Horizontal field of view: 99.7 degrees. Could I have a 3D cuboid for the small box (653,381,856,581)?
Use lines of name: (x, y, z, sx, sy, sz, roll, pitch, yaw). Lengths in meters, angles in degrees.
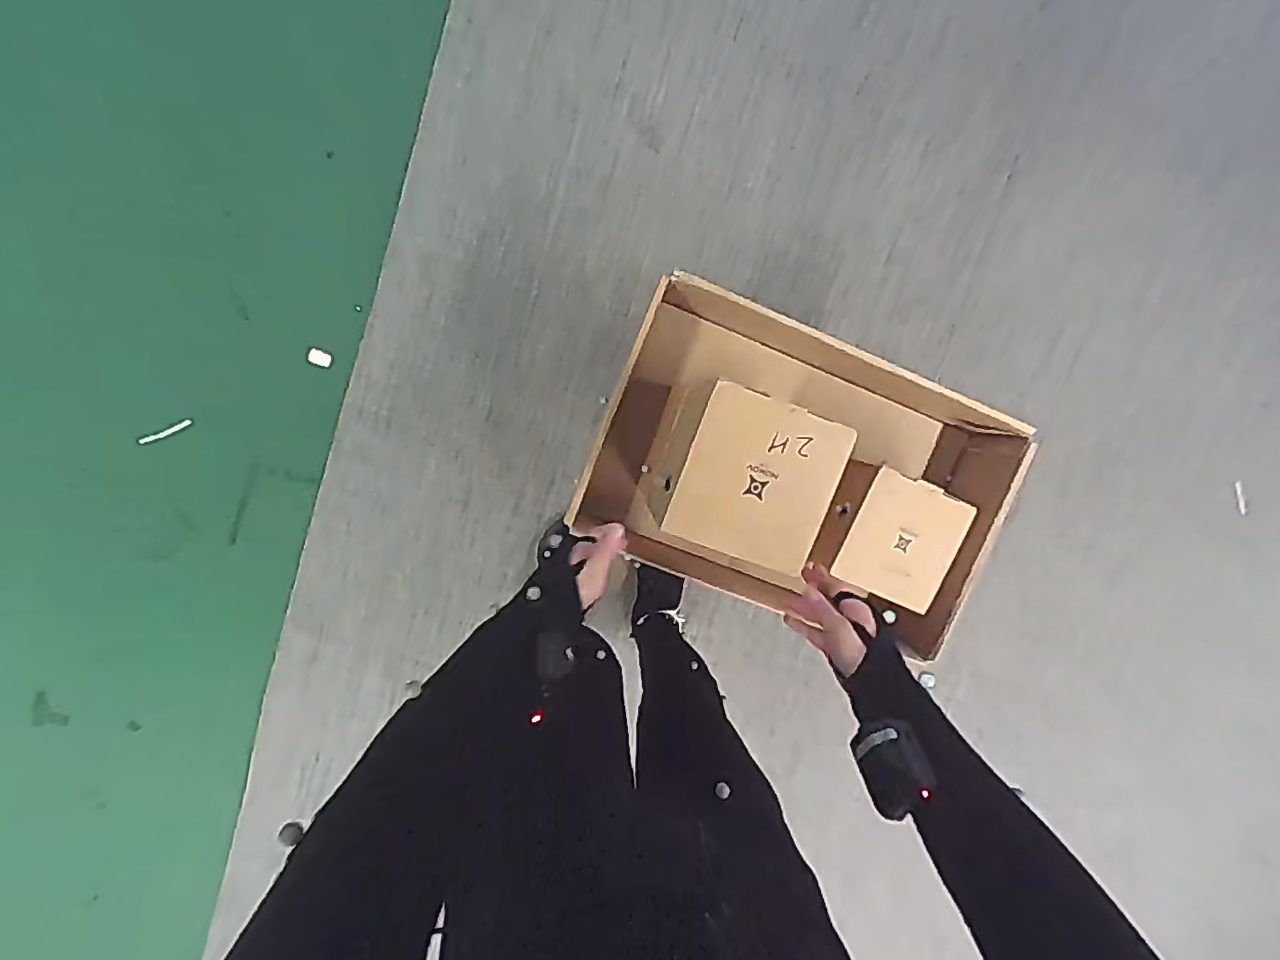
small box: (0.121, -0.006, 0.654, 0.168, 0.176, 0.179, 20, 96, -7)
